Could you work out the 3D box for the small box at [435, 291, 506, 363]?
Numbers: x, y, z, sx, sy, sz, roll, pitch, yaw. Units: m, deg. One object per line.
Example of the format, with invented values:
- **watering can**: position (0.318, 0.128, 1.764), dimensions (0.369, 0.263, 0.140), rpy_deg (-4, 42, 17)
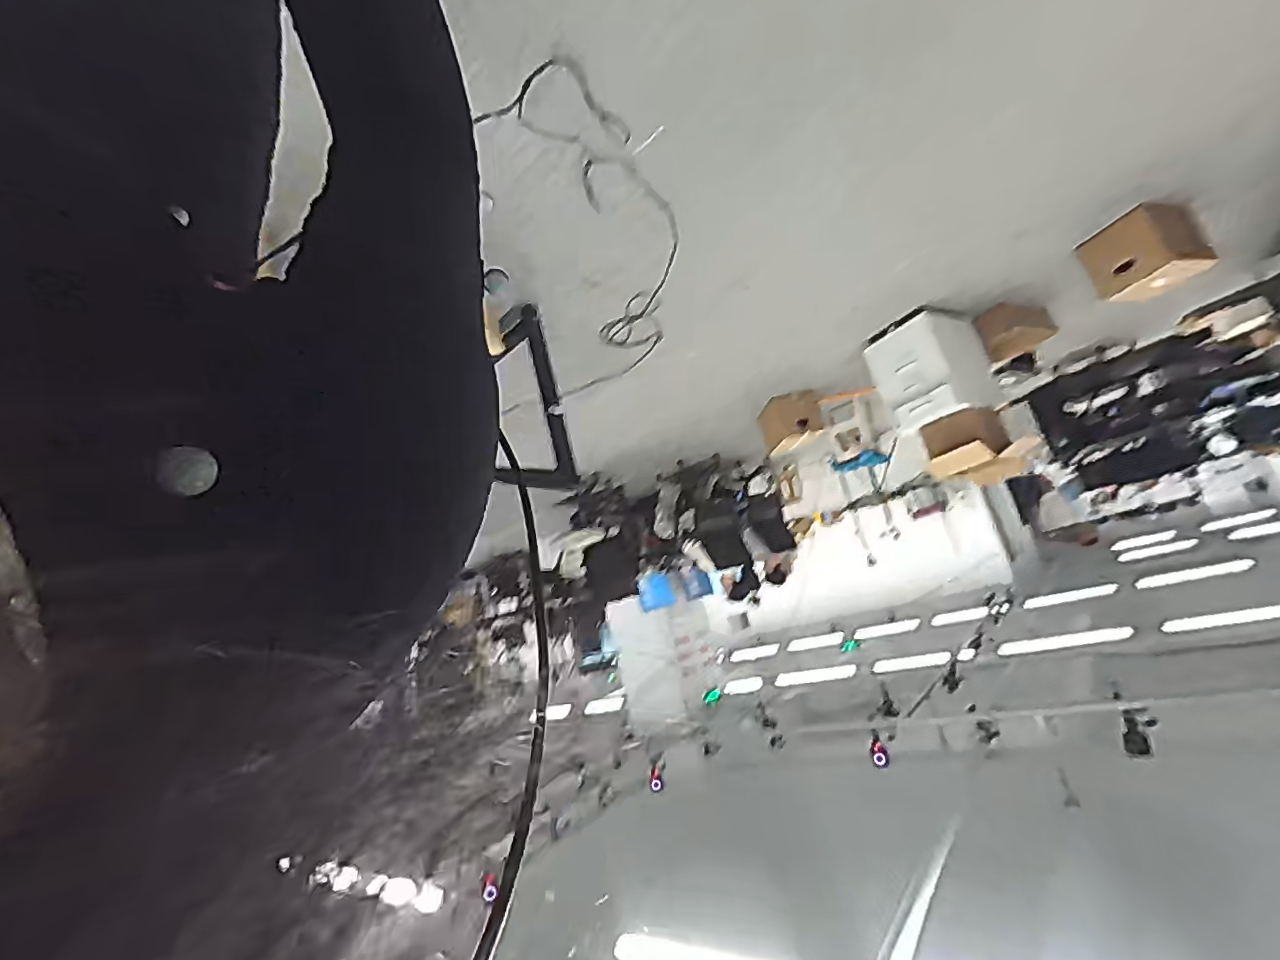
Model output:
- **small box**: position (-0.606, -0.549, 1.932), dimensions (0.179, 0.176, 0.168), rpy_deg (-16, 167, 4)
